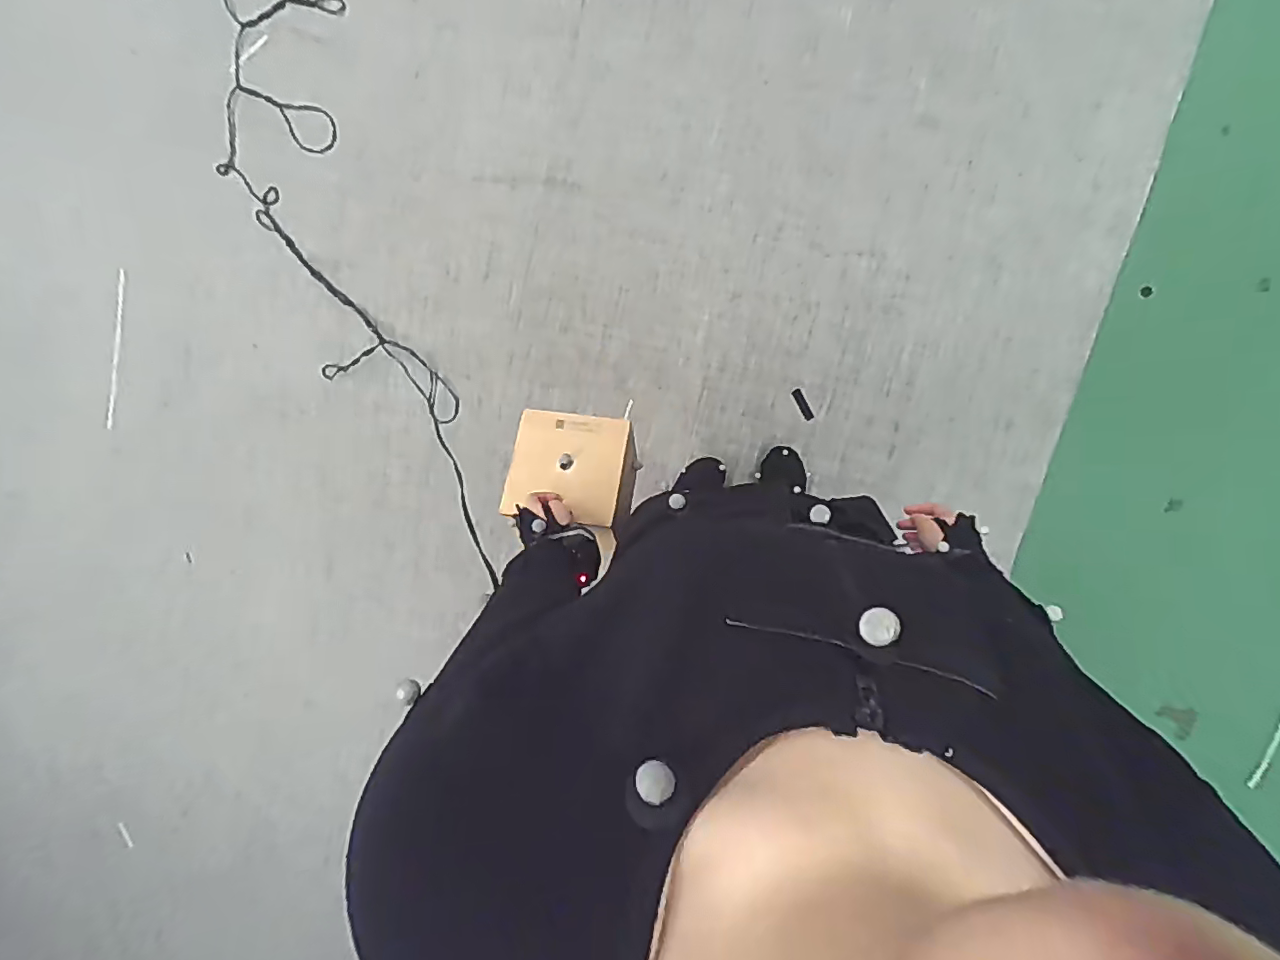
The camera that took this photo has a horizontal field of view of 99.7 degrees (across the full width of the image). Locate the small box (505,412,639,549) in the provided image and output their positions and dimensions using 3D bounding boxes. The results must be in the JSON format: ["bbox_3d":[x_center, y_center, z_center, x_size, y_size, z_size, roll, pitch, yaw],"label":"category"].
[{"bbox_3d":[-0.097,0.004,0.855,0.168,0.179,0.176,5,72,7],"label":"small box"}]
